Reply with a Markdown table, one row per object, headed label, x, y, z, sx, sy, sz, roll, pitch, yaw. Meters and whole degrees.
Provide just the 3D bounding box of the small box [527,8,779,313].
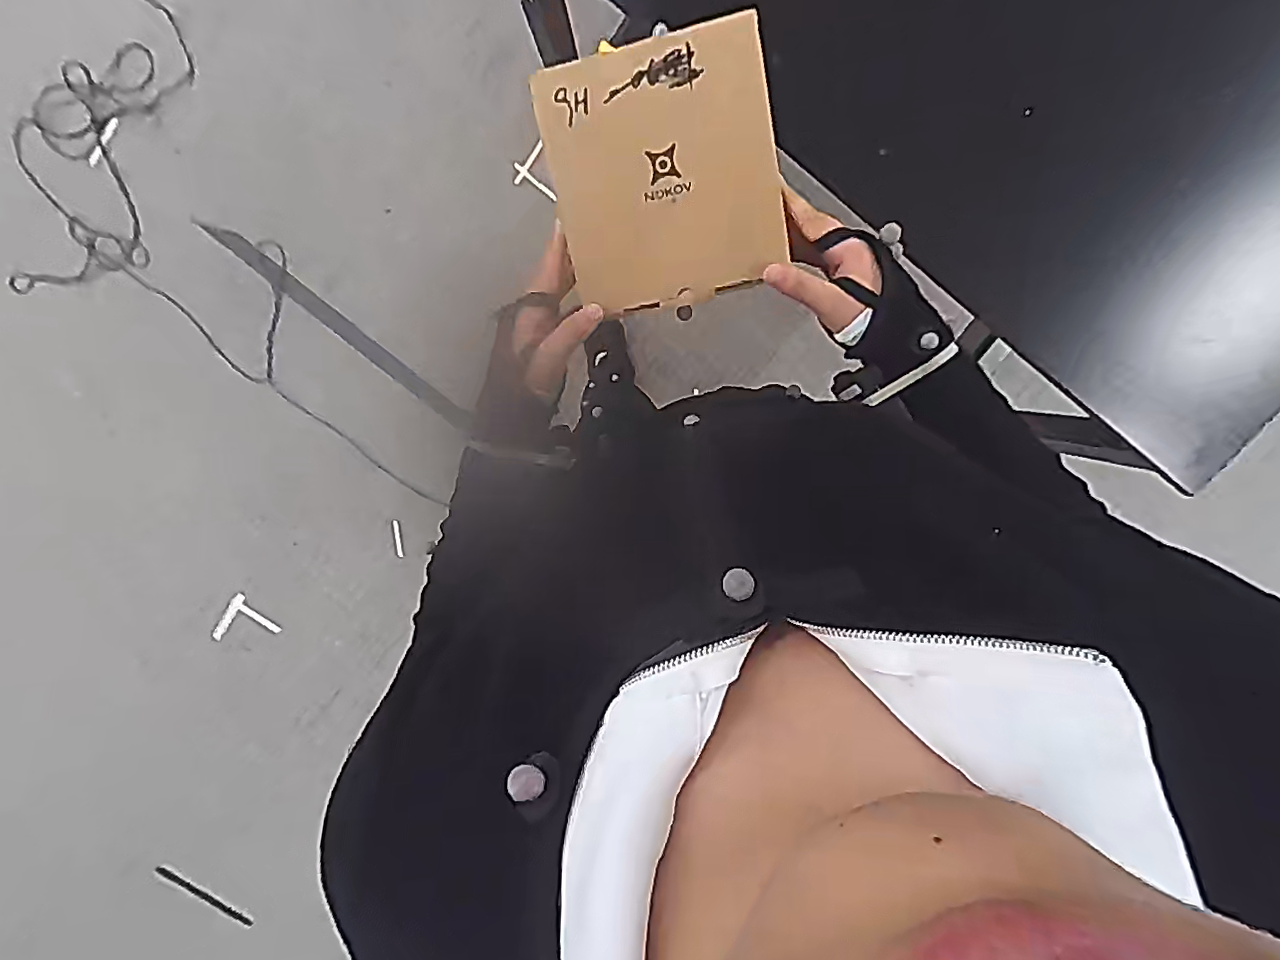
| label | x | y | z | sx | sy | sz | roll | pitch | yaw |
| --- | --- | --- | --- | --- | --- | --- | --- | --- | --- |
| small box | 0.018 | -0.257 | 0.482 | 0.168 | 0.176 | 0.179 | -11 | 107 | 6 |
